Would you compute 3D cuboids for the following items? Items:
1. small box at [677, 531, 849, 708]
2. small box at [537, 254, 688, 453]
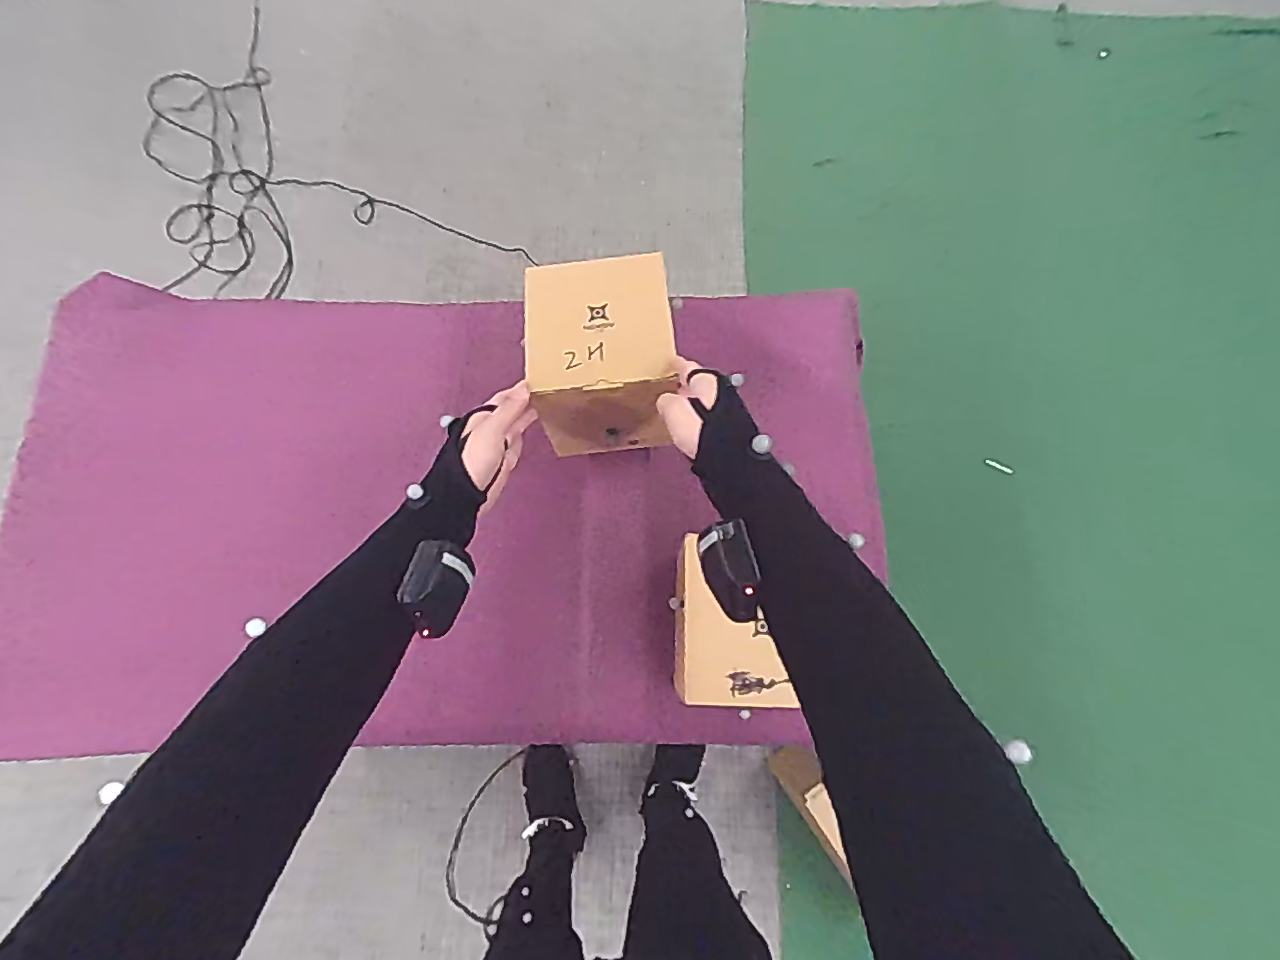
[{"bbox_3d":[0.131,0.166,0.640,0.168,0.176,0.179,2,72,2],"label":"small box"},{"bbox_3d":[-0.030,-0.151,0.682,0.168,0.176,0.179,-6,69,3],"label":"small box"}]
